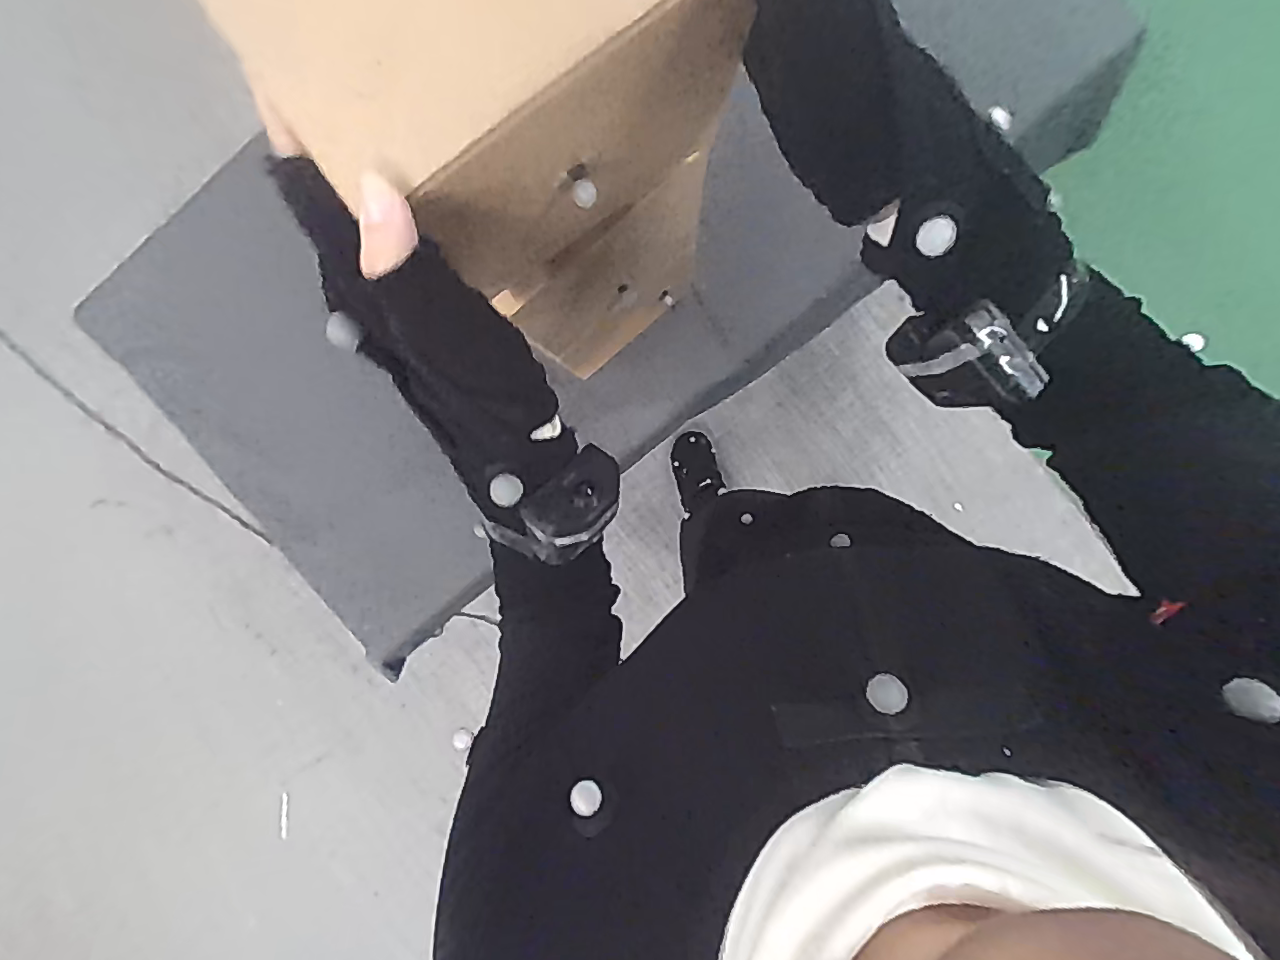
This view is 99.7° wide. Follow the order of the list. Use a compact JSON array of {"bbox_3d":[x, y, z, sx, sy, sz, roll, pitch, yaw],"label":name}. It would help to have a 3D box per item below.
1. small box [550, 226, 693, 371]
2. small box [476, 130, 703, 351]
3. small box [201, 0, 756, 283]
[{"bbox_3d":[-0.061,-0.243,0.599,0.179,0.176,0.168,-40,91,7],"label":"small box"},{"bbox_3d":[-0.071,-0.230,0.438,0.179,0.176,0.168,-42,91,6],"label":"small box"},{"bbox_3d":[-0.070,-0.215,0.242,0.179,0.176,0.168,-33,100,6],"label":"small box"}]
